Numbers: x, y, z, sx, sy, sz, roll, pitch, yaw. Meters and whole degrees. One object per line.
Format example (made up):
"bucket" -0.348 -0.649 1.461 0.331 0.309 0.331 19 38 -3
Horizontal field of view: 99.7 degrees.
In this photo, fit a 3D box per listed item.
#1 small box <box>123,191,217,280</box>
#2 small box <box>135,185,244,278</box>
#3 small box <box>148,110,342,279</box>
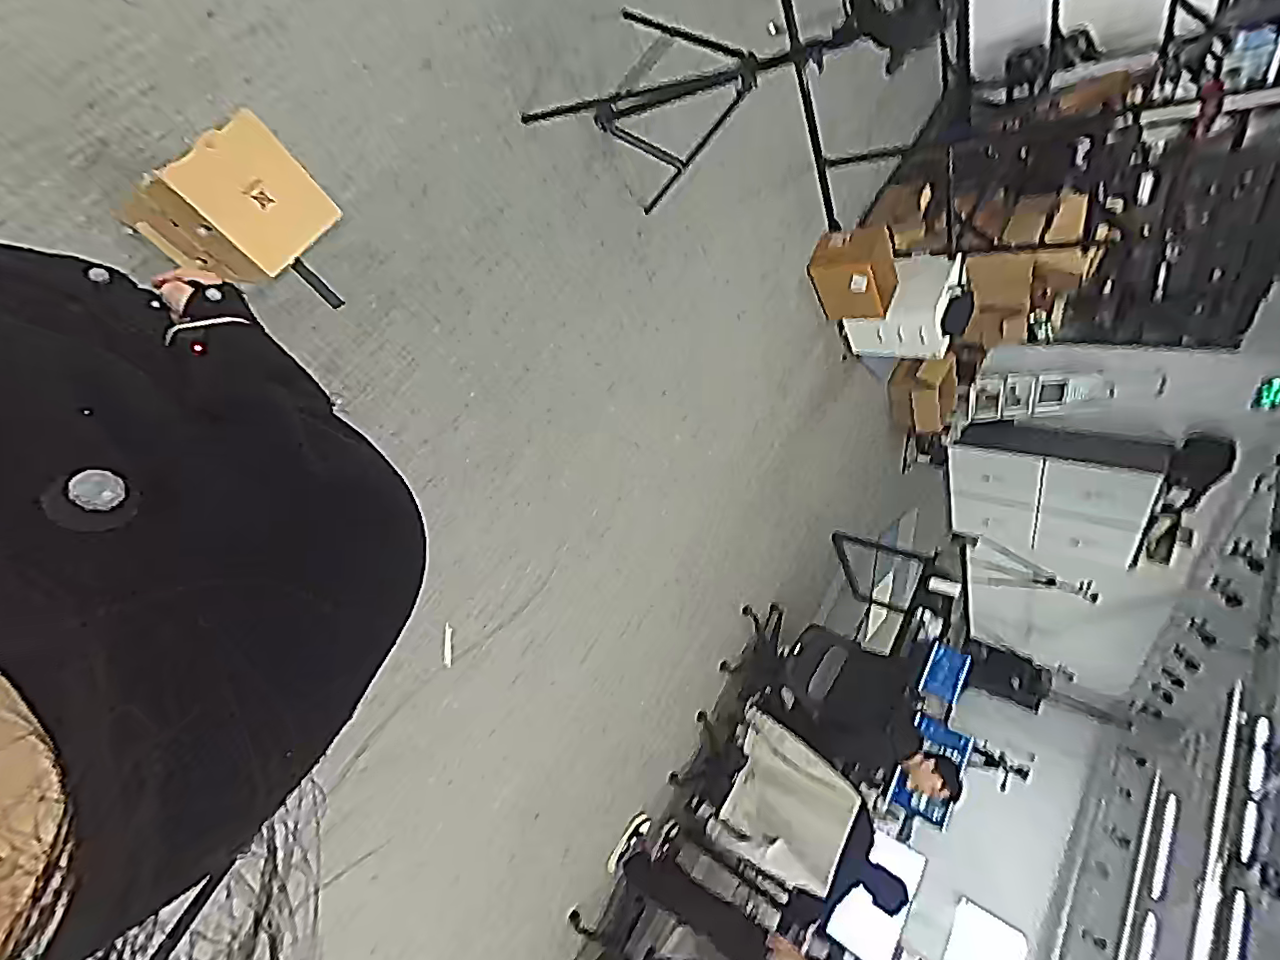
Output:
"small box" -0.877 -0.519 1.078 0.179 0.176 0.168 -57 137 -20
"small box" -0.757 -0.485 0.975 0.179 0.176 0.168 -58 138 -20
"small box" -0.635 -0.450 0.874 0.168 0.176 0.179 -57 137 -18
